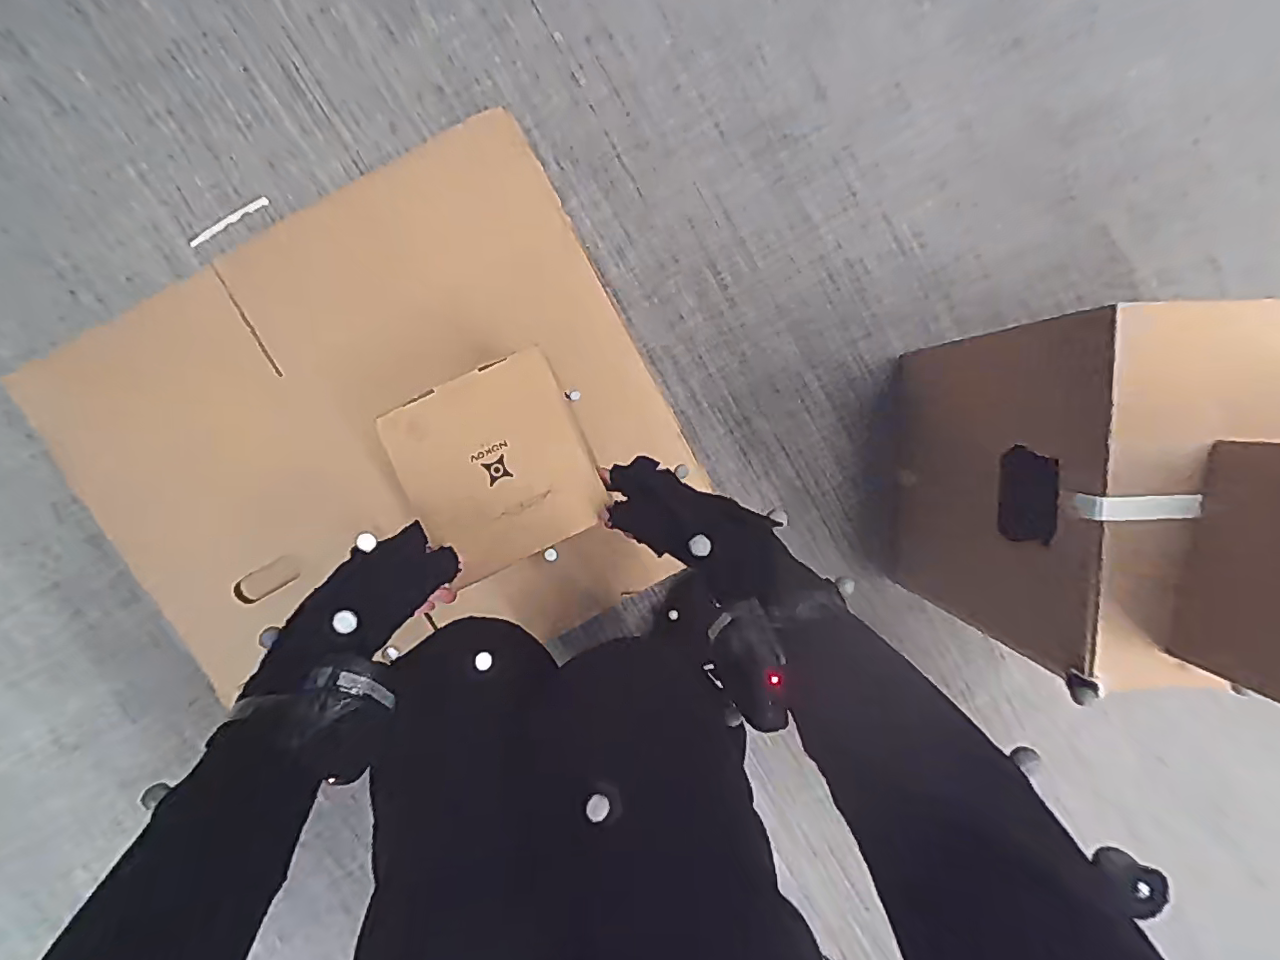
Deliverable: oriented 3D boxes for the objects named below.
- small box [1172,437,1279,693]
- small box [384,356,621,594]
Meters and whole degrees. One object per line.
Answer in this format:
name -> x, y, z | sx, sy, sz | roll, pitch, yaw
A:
small box -> 0.508, 0.068, 0.347 | 0.168, 0.176, 0.179 | 5, 95, -3
small box -> -0.130, -0.003, 0.578 | 0.168, 0.176, 0.179 | -27, 89, -2
